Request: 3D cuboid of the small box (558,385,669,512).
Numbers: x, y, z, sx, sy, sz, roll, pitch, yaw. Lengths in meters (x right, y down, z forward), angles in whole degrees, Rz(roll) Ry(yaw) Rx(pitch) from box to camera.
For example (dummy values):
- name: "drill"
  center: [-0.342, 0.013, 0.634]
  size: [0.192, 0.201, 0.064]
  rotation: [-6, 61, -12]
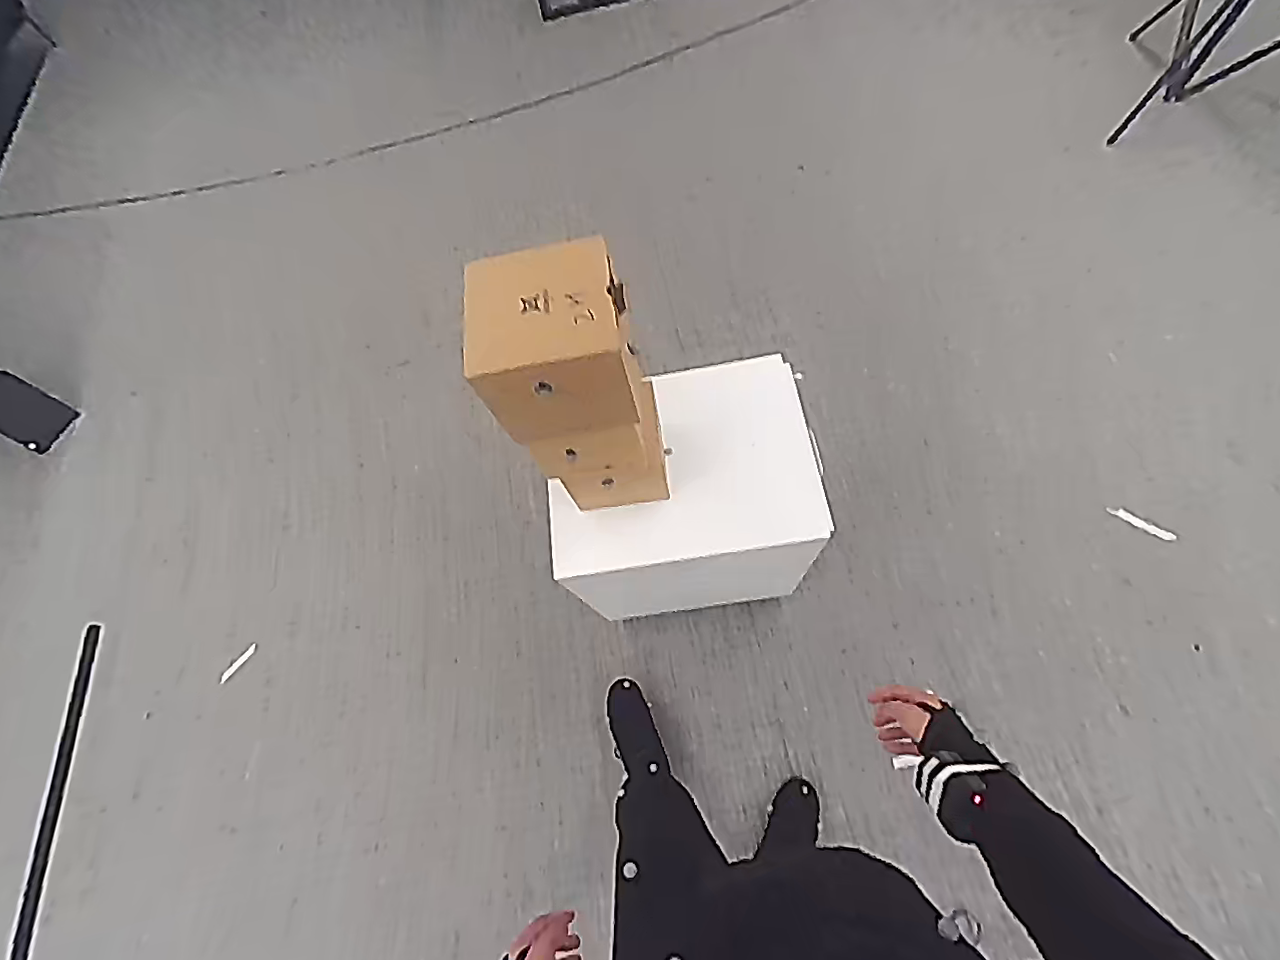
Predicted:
- name: "small box"
  center: [-0.046, -0.050, 0.988]
  size: [0.179, 0.176, 0.168]
  rotation: [-8, 67, 4]

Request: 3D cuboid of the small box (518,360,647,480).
- name: "small box"
  center: [-0.084, -0.109, 0.841]
  size: [0.168, 0.176, 0.179]
  rotation: [-7, 66, 5]

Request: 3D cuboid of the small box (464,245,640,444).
- name: "small box"
  center: [-0.105, -0.159, 0.685]
  size: [0.179, 0.176, 0.168]
  rotation: [-9, 67, 4]
